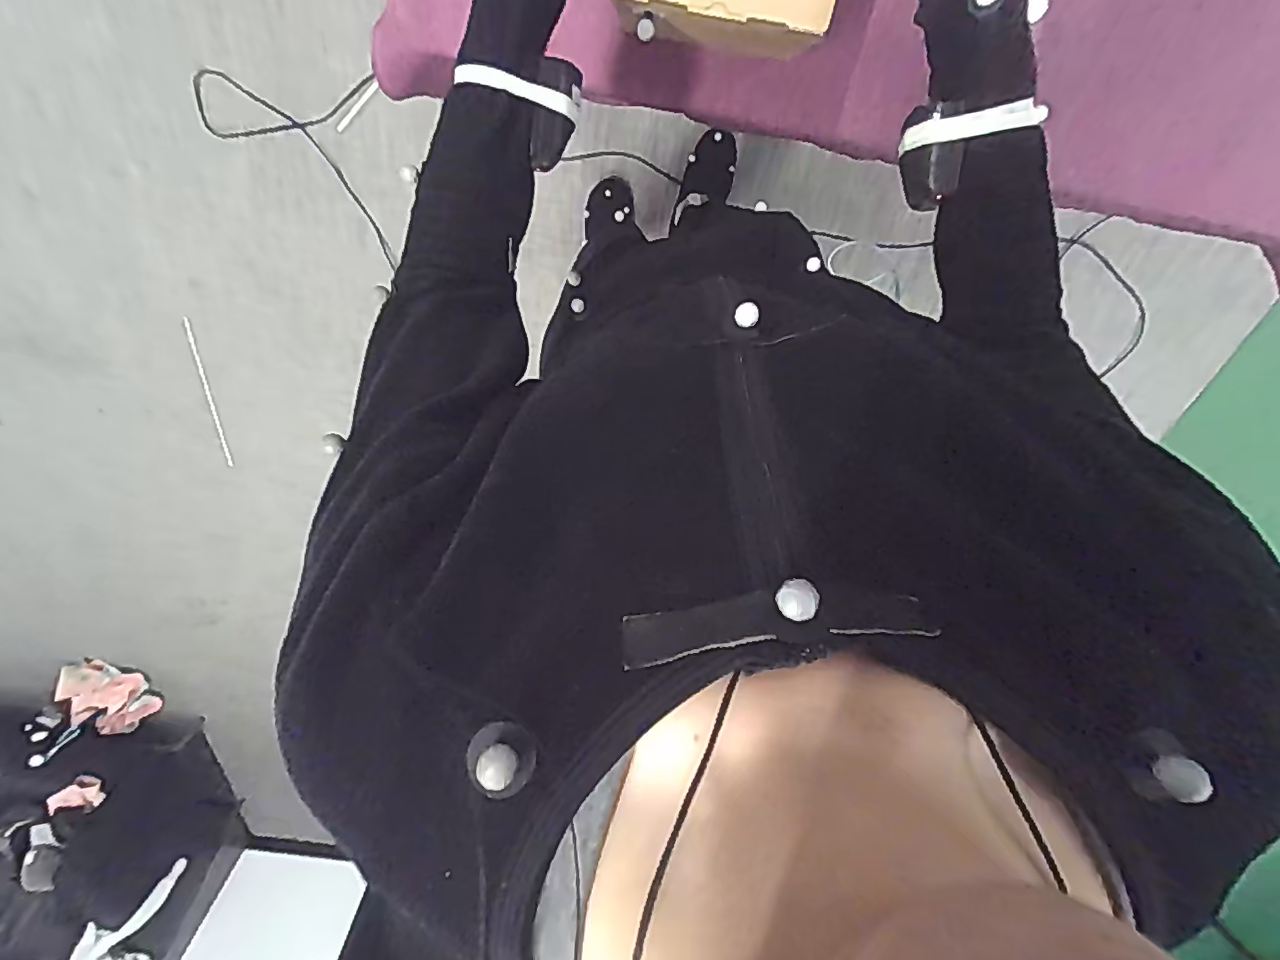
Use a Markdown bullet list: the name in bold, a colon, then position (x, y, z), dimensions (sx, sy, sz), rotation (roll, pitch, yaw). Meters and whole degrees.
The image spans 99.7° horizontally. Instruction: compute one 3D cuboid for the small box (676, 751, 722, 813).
- **small box**: position (0.258, 1.342, 2.401), dimensions (0.168, 0.176, 0.179), rotation (10, 123, -5)
